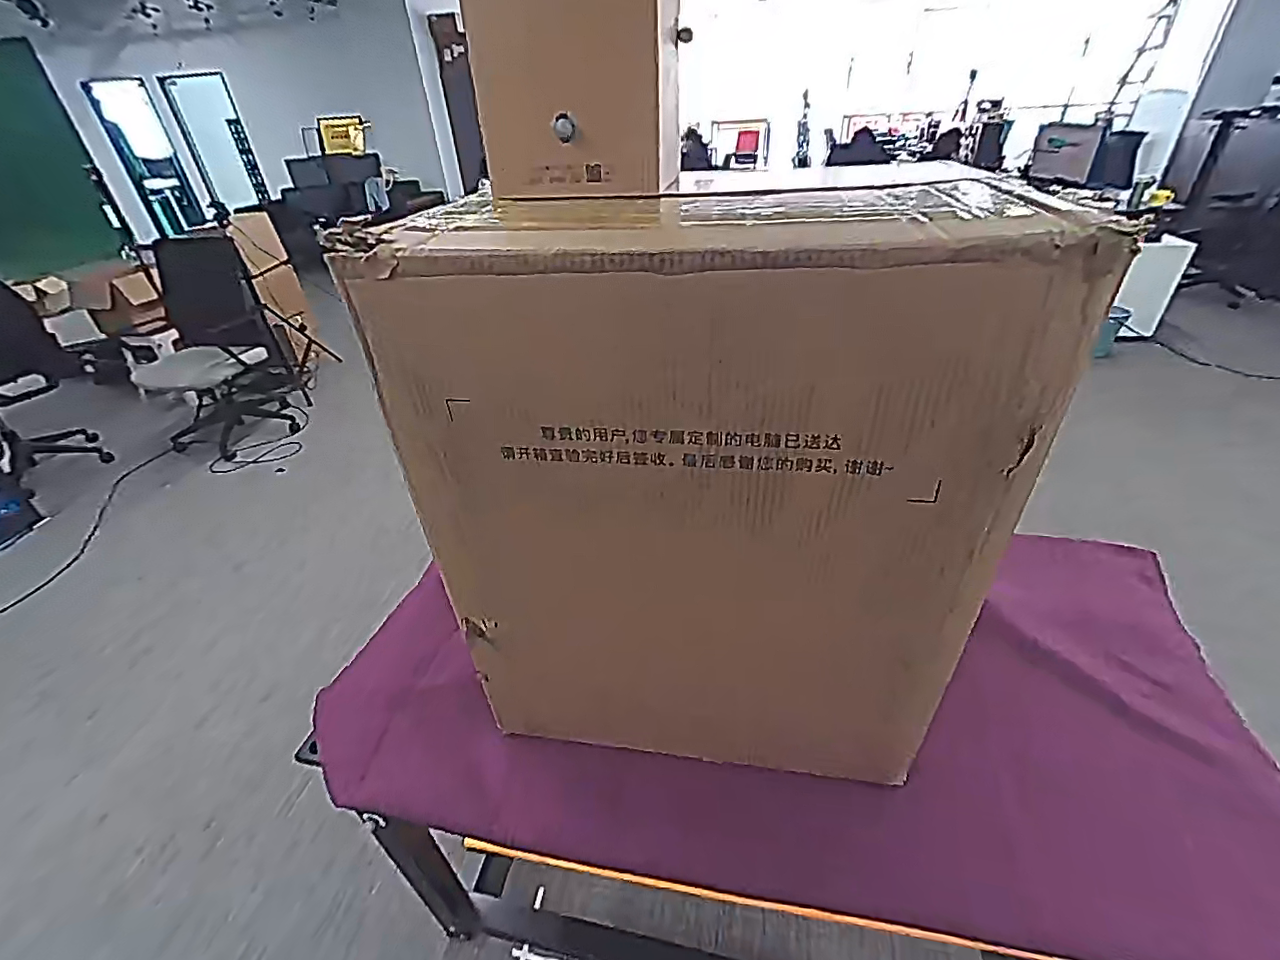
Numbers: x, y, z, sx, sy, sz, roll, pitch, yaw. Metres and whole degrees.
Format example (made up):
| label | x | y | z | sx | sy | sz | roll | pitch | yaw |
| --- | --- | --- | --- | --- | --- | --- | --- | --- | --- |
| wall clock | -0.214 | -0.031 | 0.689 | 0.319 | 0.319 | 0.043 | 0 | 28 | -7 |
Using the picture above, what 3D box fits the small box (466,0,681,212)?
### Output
| label | x | y | z | sx | sy | sz | roll | pitch | yaw |
| --- | --- | --- | --- | --- | --- | --- | --- | --- | --- |
| small box | -0.050 | -0.377 | 0.546 | 0.168 | 0.176 | 0.179 | 3 | 35 | 10 |
